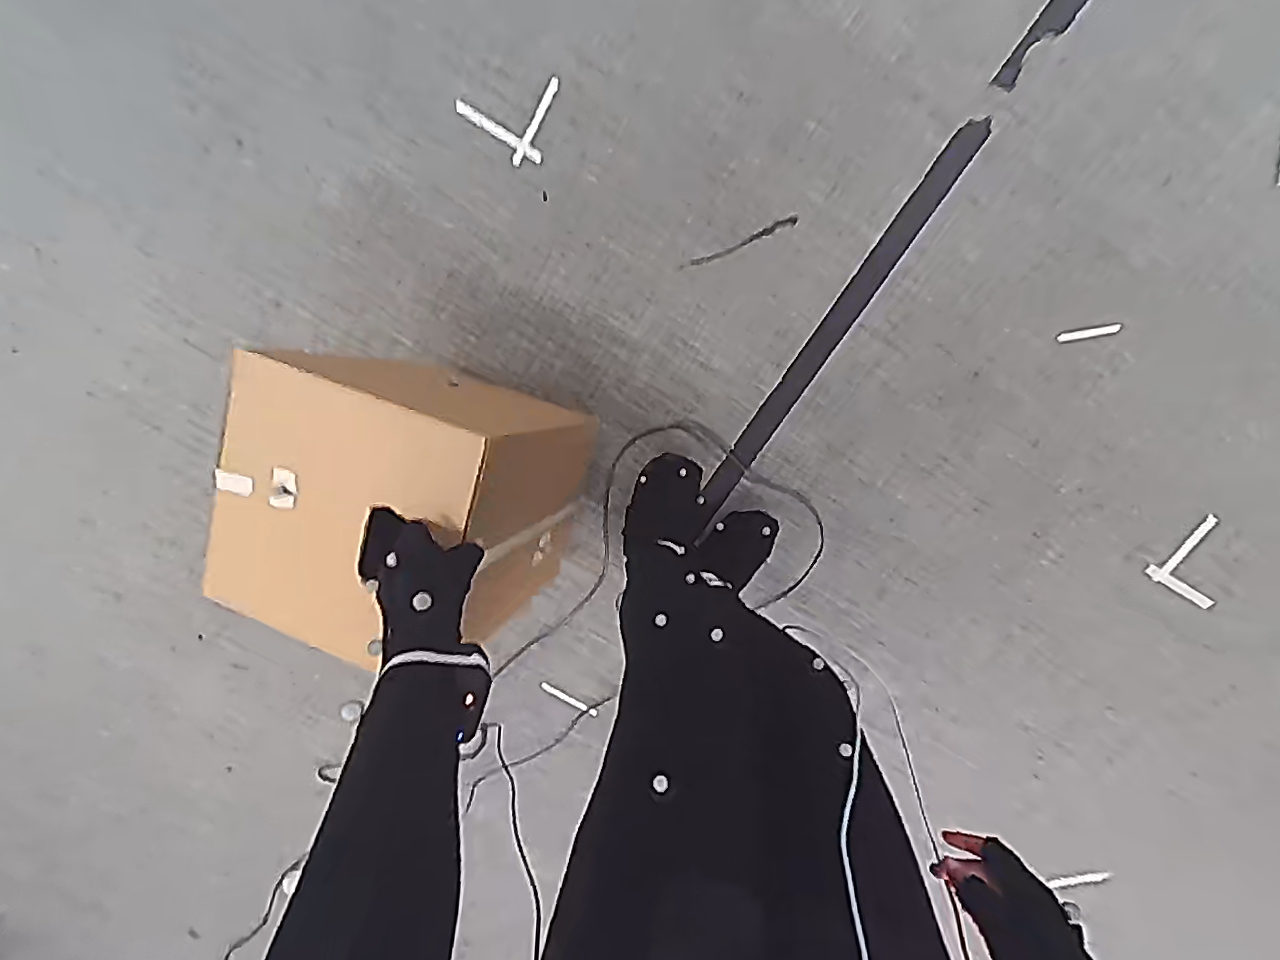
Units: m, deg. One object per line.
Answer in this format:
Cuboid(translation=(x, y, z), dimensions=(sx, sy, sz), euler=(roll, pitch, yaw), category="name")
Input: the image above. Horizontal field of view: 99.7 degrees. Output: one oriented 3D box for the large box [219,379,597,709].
Cuboid(translation=(-0.301, 0.043, 0.794), dimensions=(0.320, 0.408, 0.320), euler=(20, 103, 10), category="large box")
